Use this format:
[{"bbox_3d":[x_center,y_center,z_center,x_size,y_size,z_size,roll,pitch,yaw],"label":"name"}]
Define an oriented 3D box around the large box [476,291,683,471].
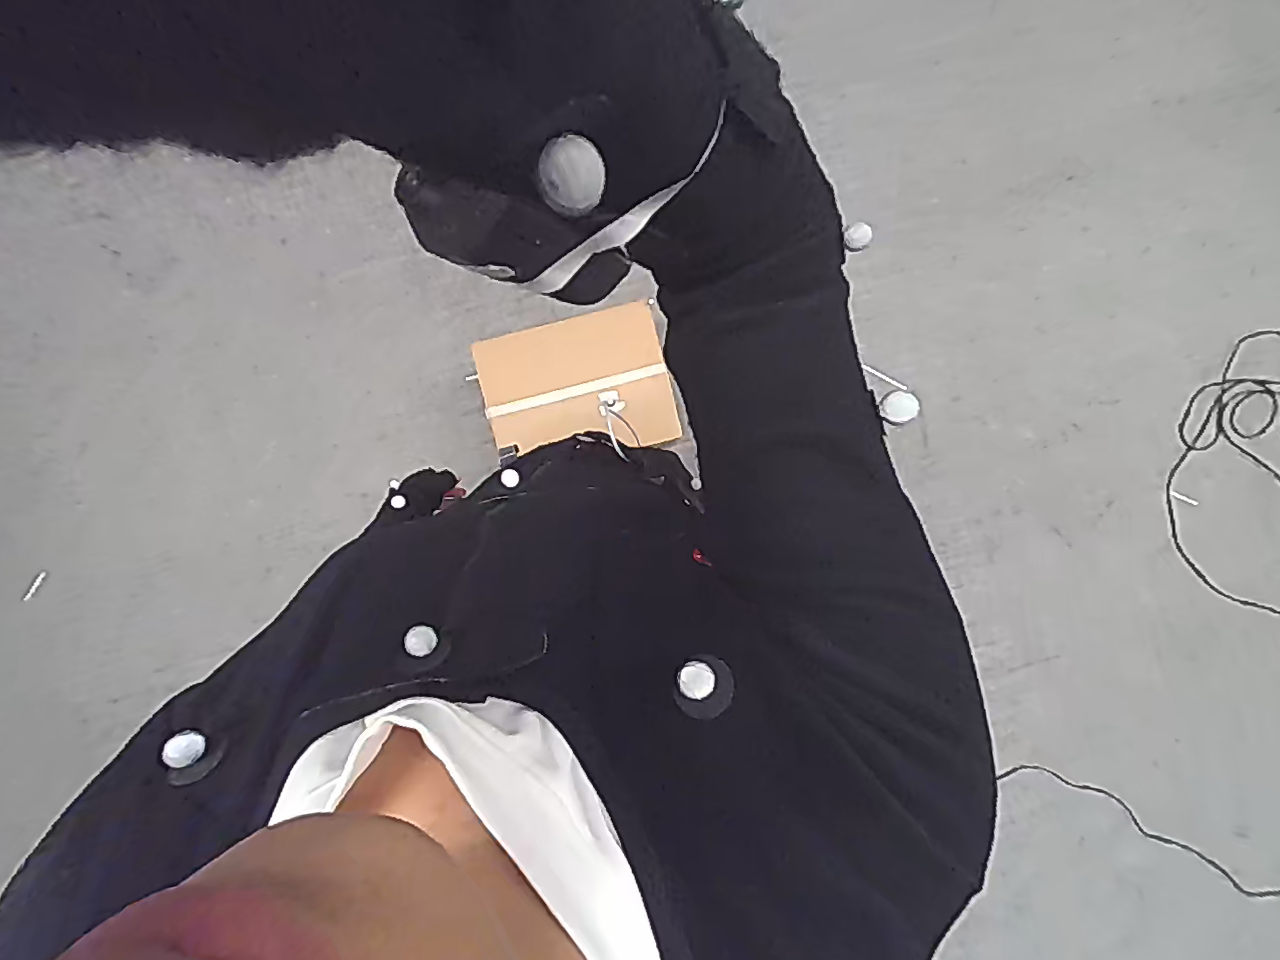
[{"bbox_3d":[-0.132,-0.219,1.328,0.408,0.320,0.320,-14,93,1],"label":"large box"}]
